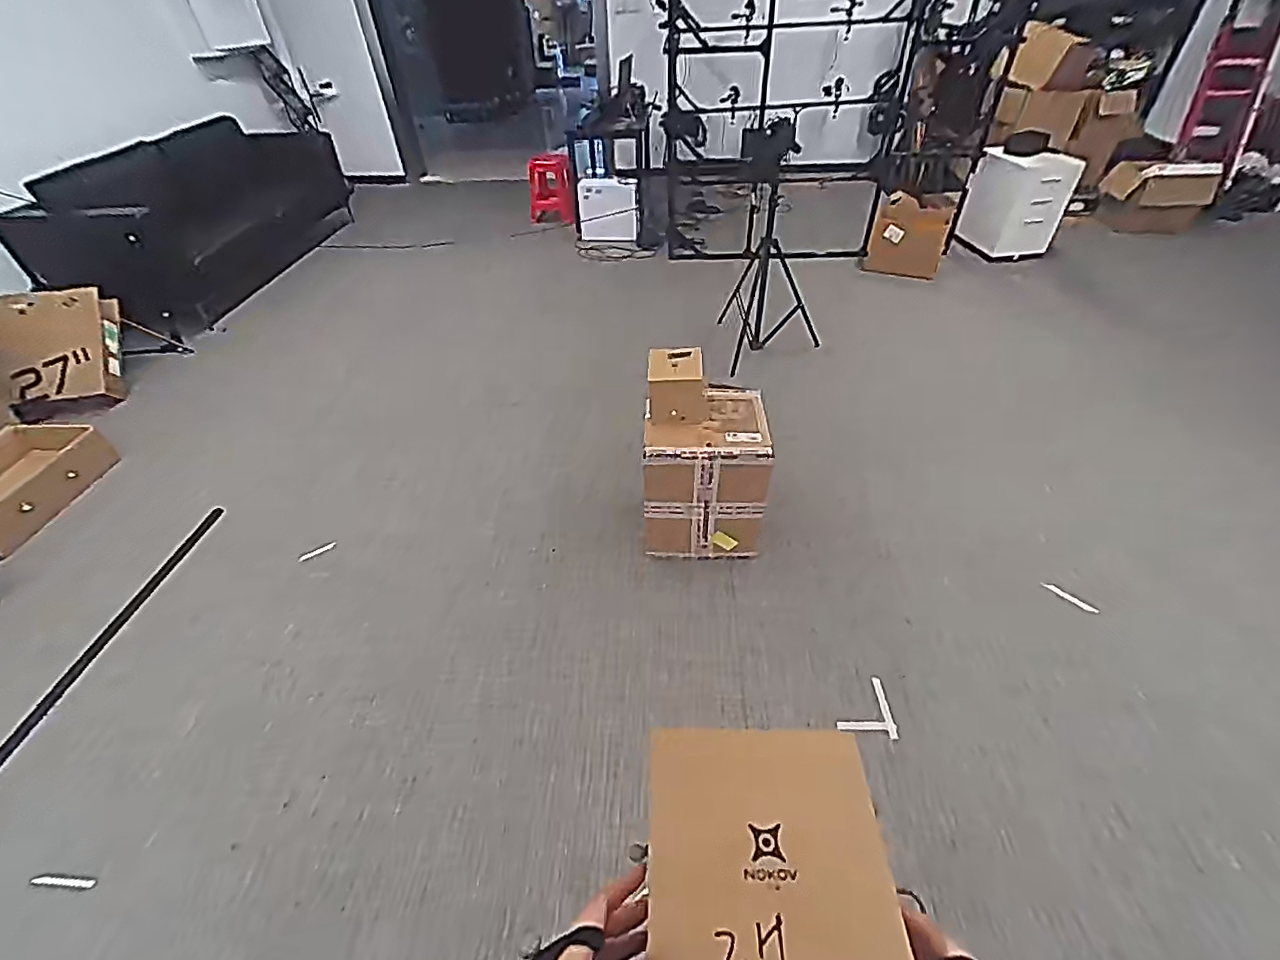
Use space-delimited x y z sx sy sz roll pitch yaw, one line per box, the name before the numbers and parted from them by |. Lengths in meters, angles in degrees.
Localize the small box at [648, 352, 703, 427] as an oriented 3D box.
small box | 0.114 -0.287 1.710 0.168 0.176 0.179 -1 45 5
